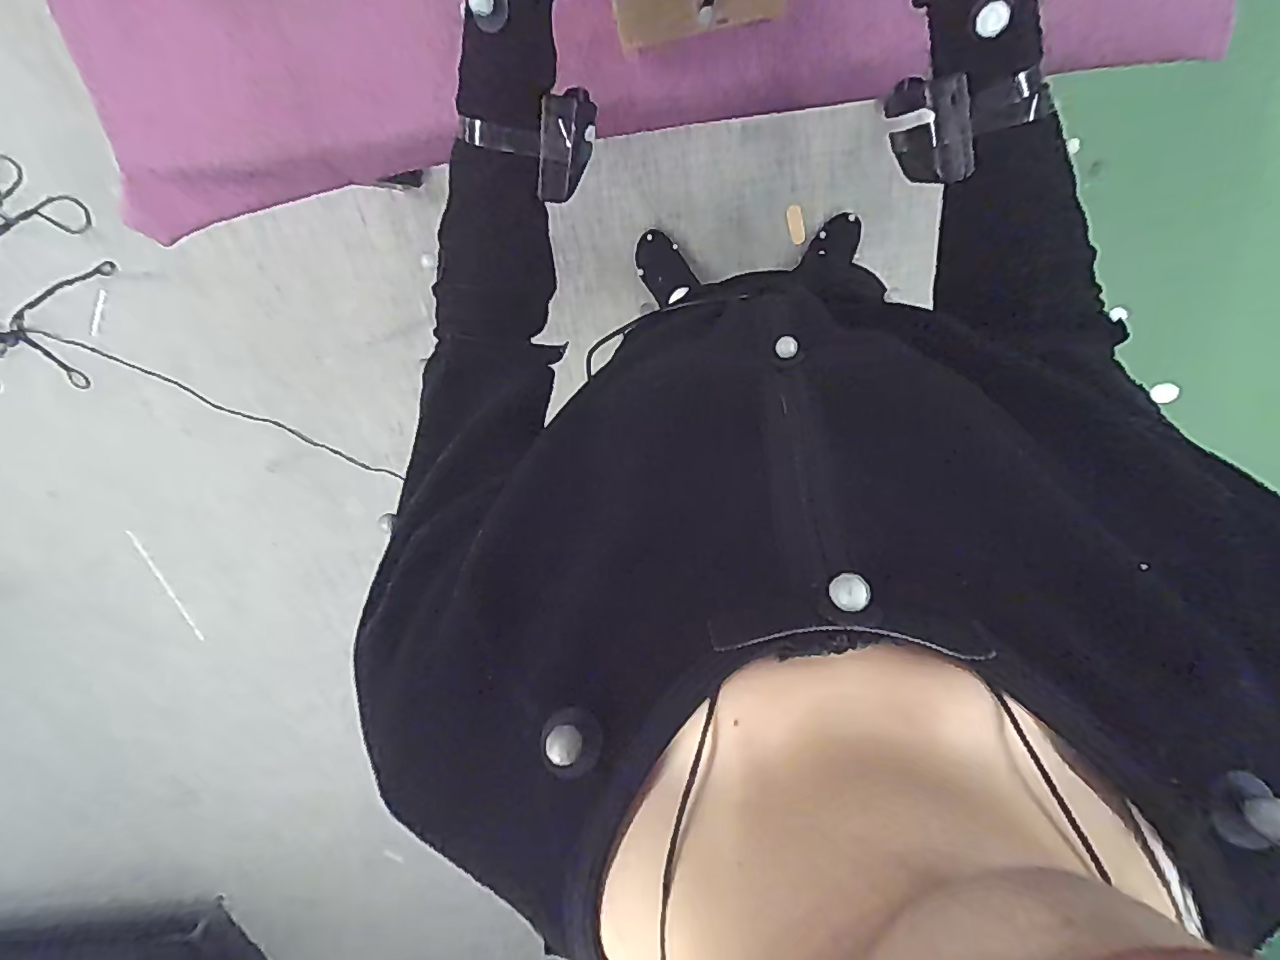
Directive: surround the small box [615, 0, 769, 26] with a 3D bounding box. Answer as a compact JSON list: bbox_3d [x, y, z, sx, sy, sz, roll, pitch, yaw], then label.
[{"bbox_3d":[0.045,-0.512,0.445,0.168,0.176,0.179,-8,114,6],"label":"small box"}]
